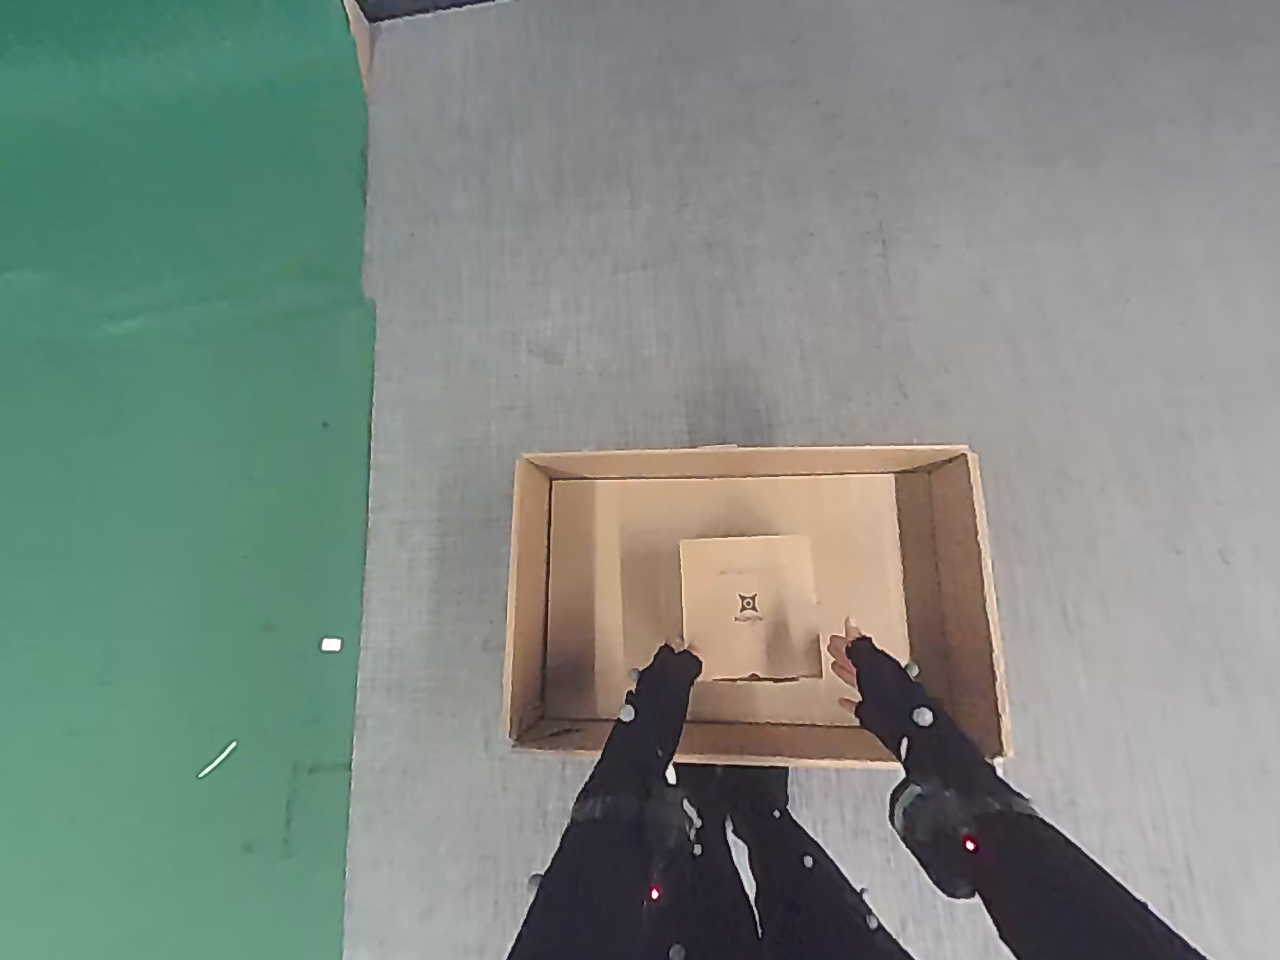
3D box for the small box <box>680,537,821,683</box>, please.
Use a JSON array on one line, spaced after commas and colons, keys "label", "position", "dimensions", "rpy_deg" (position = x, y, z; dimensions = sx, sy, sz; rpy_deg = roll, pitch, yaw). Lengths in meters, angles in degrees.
[{"label": "small box", "position": [0.143, 0.176, 0.747], "dimensions": [0.168, 0.176, 0.179], "rpy_deg": [-3, 77, 5]}]
